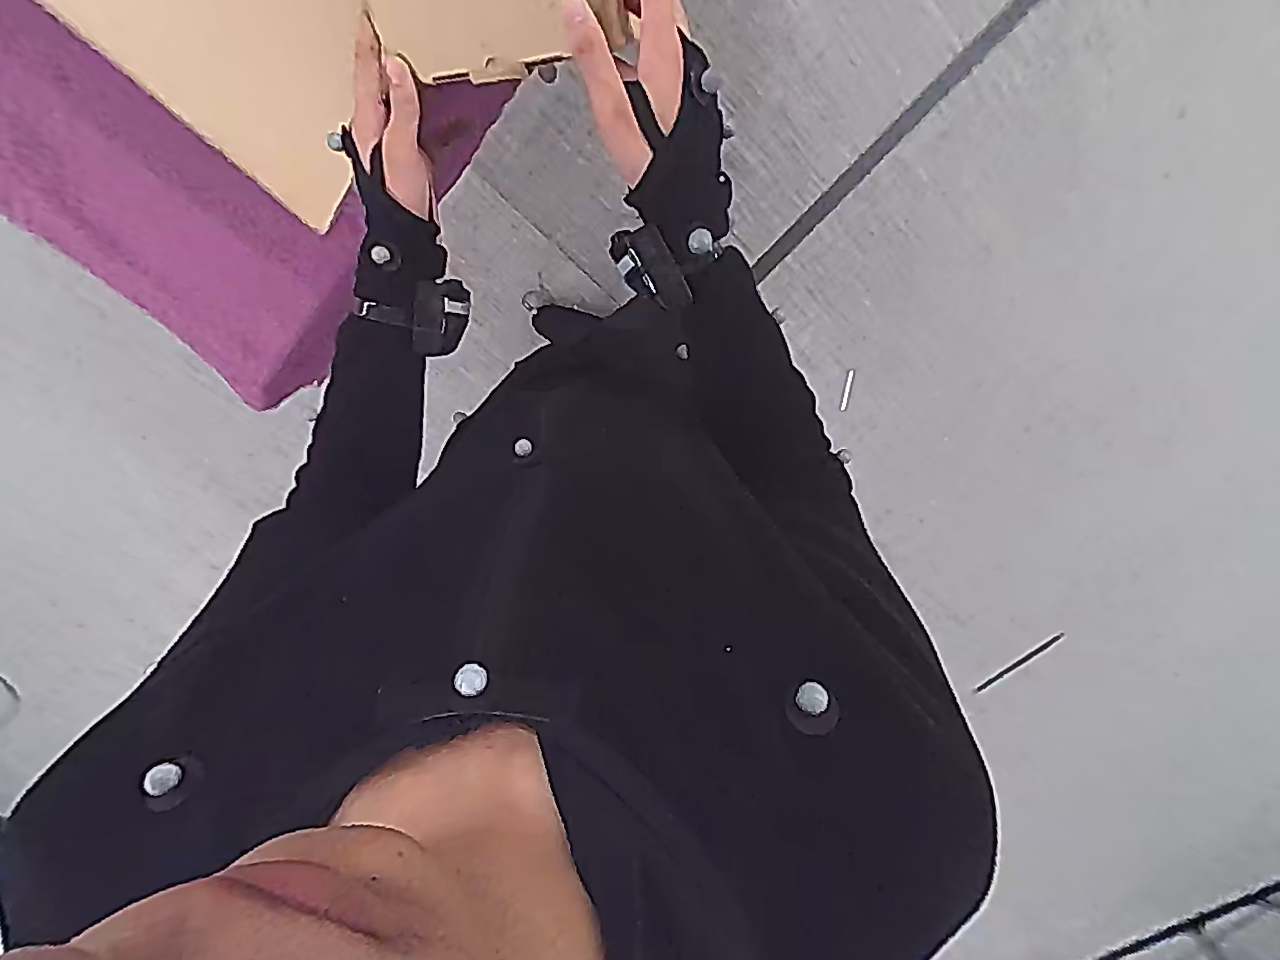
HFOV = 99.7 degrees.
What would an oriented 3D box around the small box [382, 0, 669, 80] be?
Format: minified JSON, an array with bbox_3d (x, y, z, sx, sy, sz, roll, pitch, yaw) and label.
[{"bbox_3d":[-0.080,-0.403,0.369,0.168,0.176,0.179,4,135,16],"label":"small box"}]
